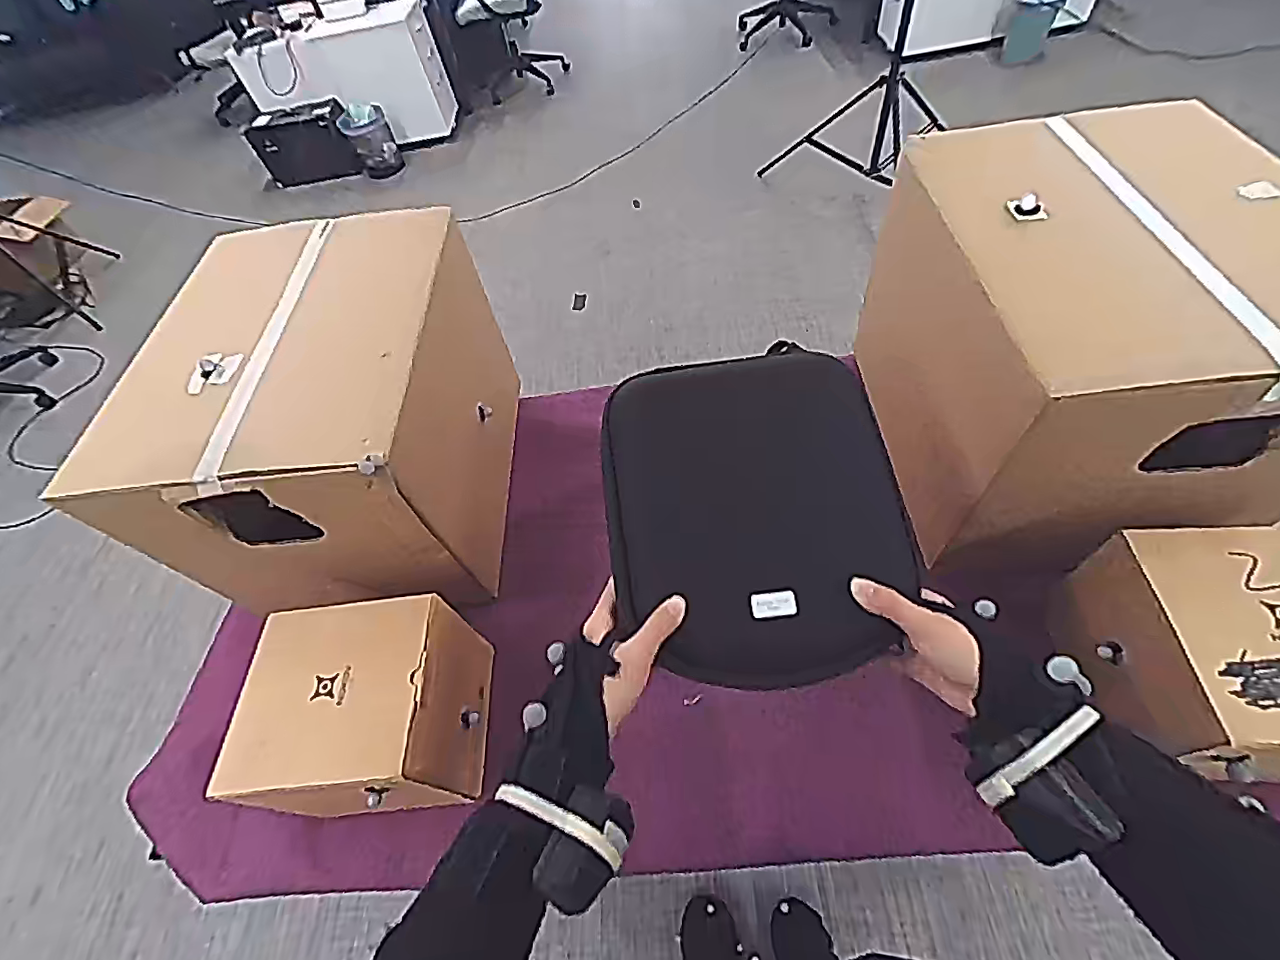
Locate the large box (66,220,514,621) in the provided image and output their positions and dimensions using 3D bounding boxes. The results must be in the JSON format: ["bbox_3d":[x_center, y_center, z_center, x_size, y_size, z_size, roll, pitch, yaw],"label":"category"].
[{"bbox_3d":[-0.361,-0.069,0.704,0.320,0.320,0.408,-6,57,3],"label":"large box"}]
